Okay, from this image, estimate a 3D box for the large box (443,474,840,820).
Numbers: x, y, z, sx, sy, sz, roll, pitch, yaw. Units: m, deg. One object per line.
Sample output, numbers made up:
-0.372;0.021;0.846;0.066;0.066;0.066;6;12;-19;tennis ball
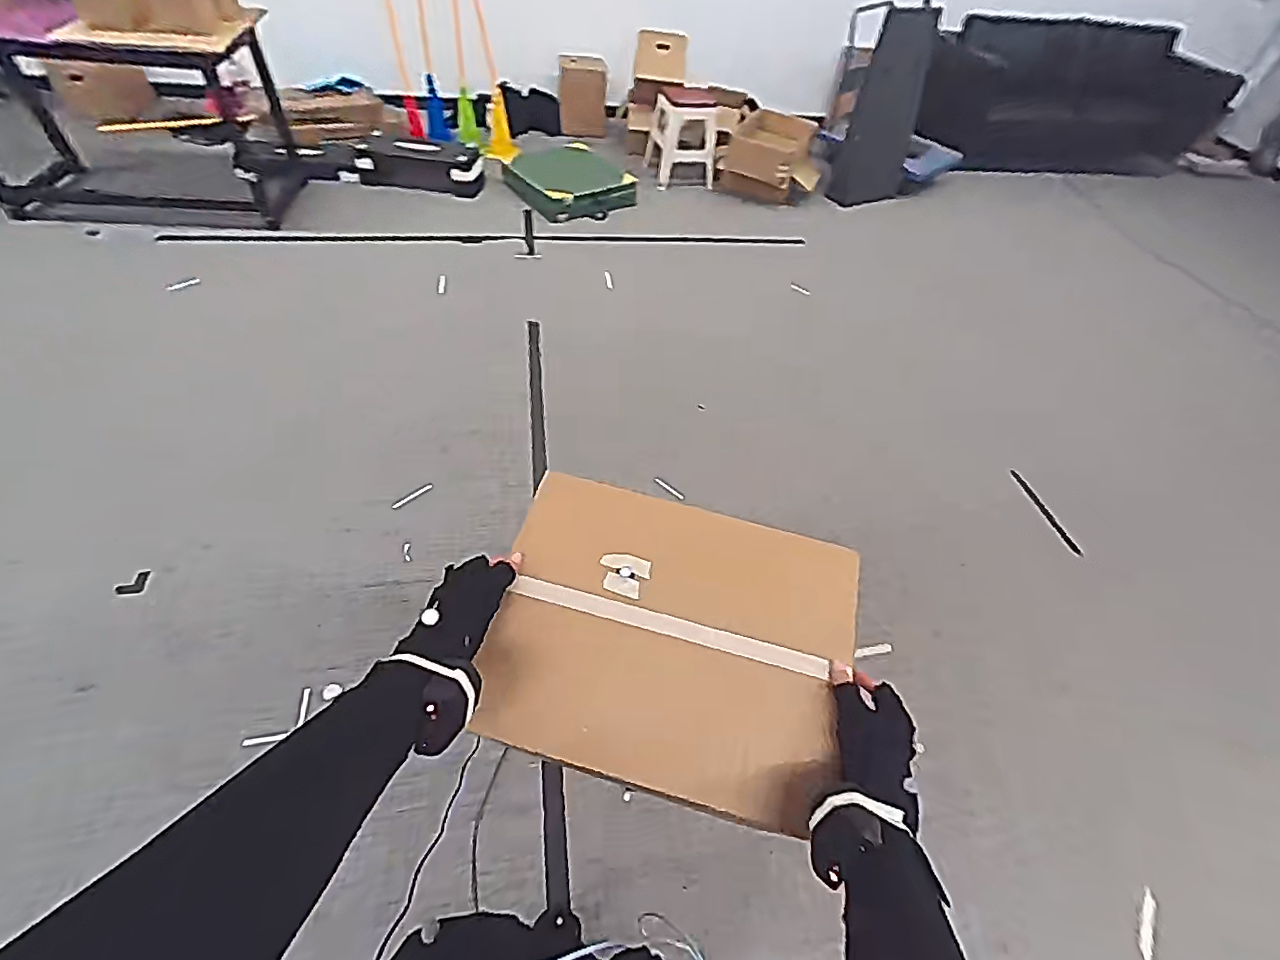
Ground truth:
0.020;0.235;0.744;0.408;0.320;0.320;14;59;6;large box
